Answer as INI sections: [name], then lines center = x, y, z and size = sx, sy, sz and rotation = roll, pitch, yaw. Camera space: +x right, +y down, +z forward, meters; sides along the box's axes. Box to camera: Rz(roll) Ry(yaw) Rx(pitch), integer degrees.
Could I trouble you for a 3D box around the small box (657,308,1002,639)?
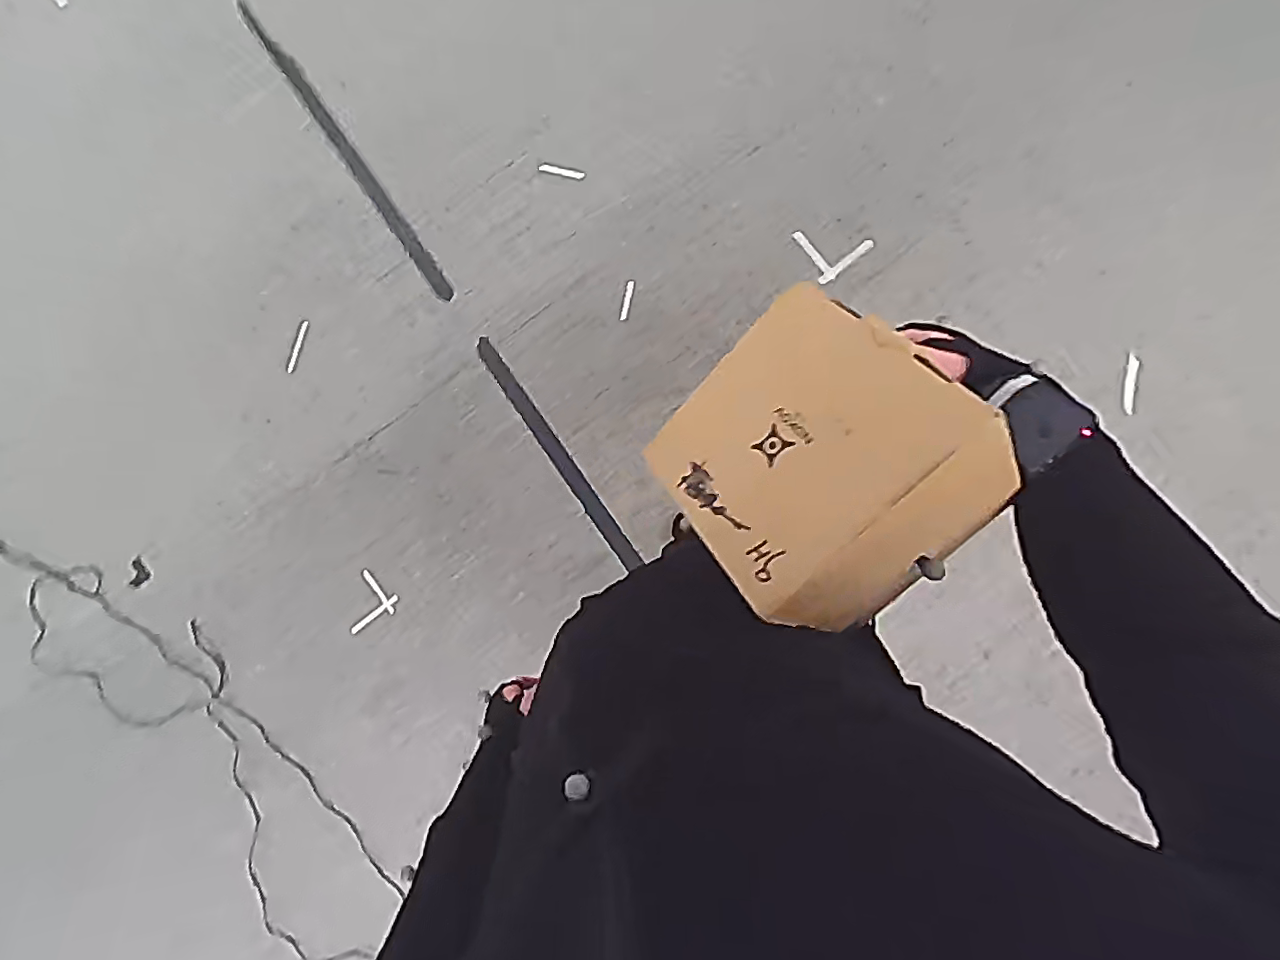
[small box]
center = 0.153, 0.007, 0.432
size = 0.179, 0.176, 0.168
rotation = -47, 51, 15
